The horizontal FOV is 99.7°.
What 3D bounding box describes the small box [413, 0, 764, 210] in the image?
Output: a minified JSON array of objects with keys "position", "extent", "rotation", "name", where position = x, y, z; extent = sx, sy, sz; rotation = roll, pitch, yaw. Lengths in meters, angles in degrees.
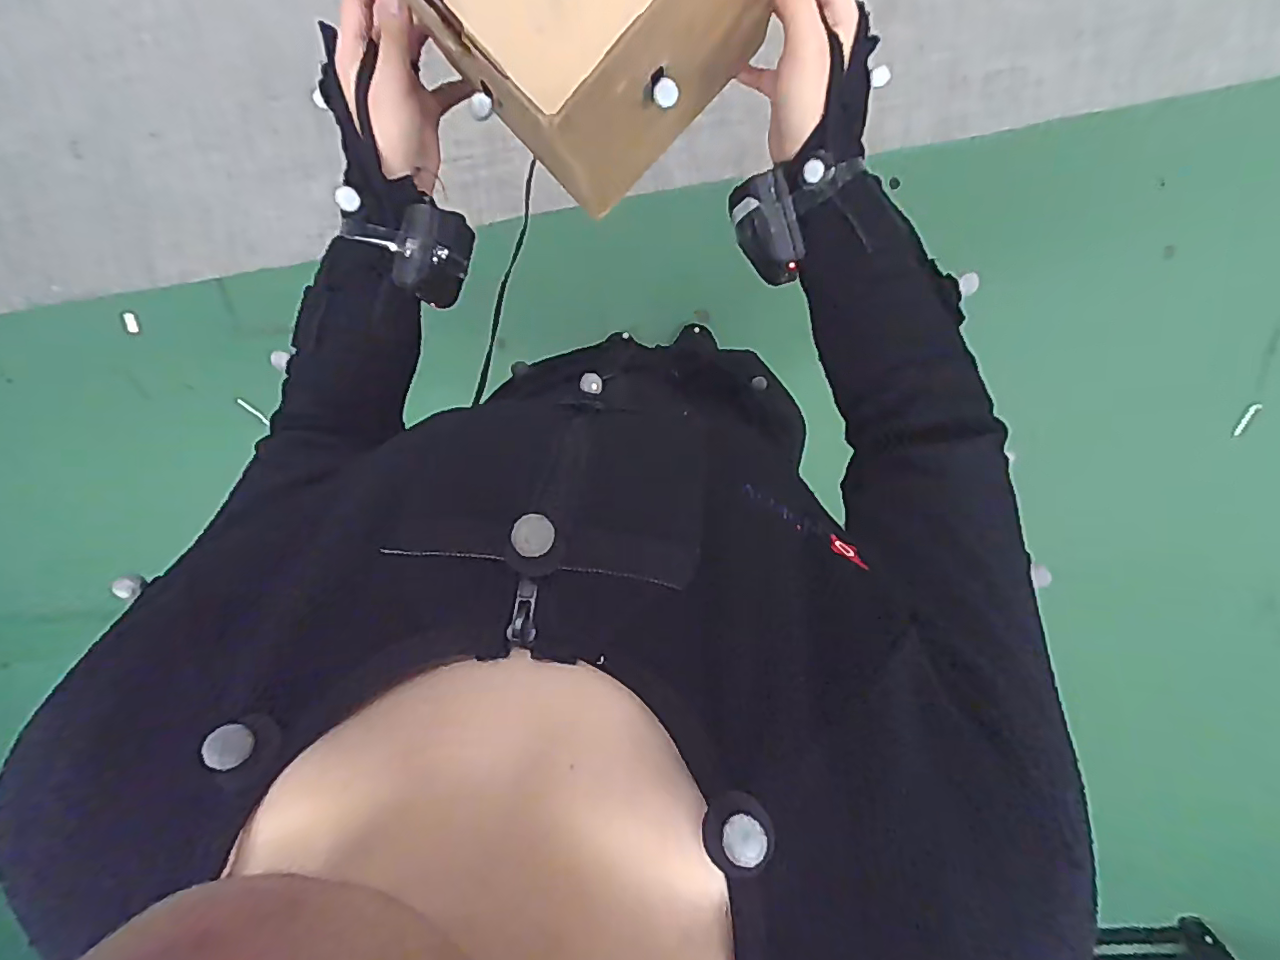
[{"position":[-0.032,-0.307,0.333],"extent":[0.179,0.176,0.168],"rotation":[-43,95,10],"name":"small box"}]
